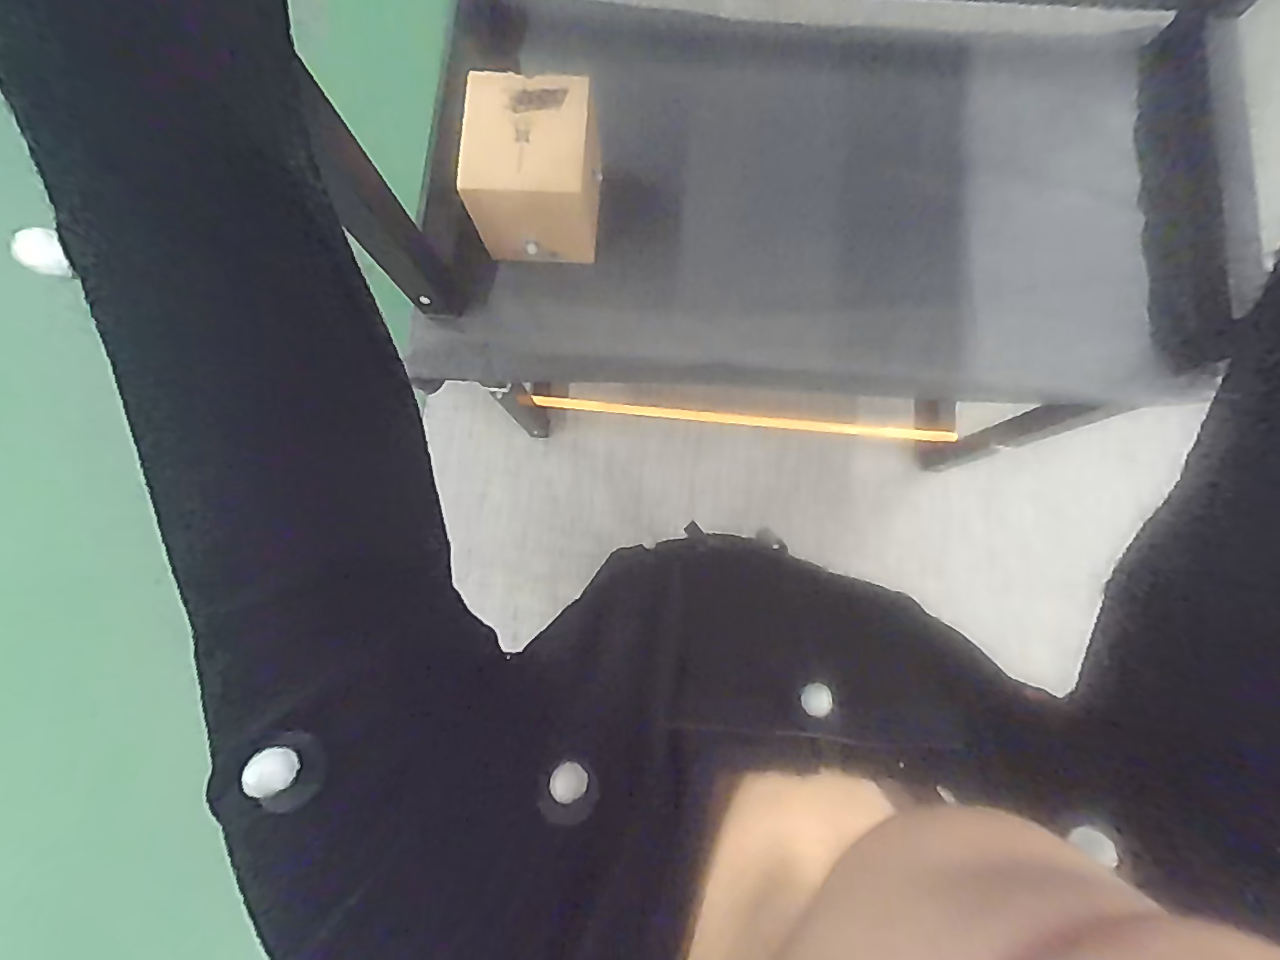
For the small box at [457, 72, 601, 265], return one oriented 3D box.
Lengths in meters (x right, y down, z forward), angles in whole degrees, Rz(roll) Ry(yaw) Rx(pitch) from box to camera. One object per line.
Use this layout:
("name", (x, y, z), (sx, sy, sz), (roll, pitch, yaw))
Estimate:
("small box", (-0.148, -0.441, 0.783), (0.168, 0.176, 0.179), (3, 81, 2))
